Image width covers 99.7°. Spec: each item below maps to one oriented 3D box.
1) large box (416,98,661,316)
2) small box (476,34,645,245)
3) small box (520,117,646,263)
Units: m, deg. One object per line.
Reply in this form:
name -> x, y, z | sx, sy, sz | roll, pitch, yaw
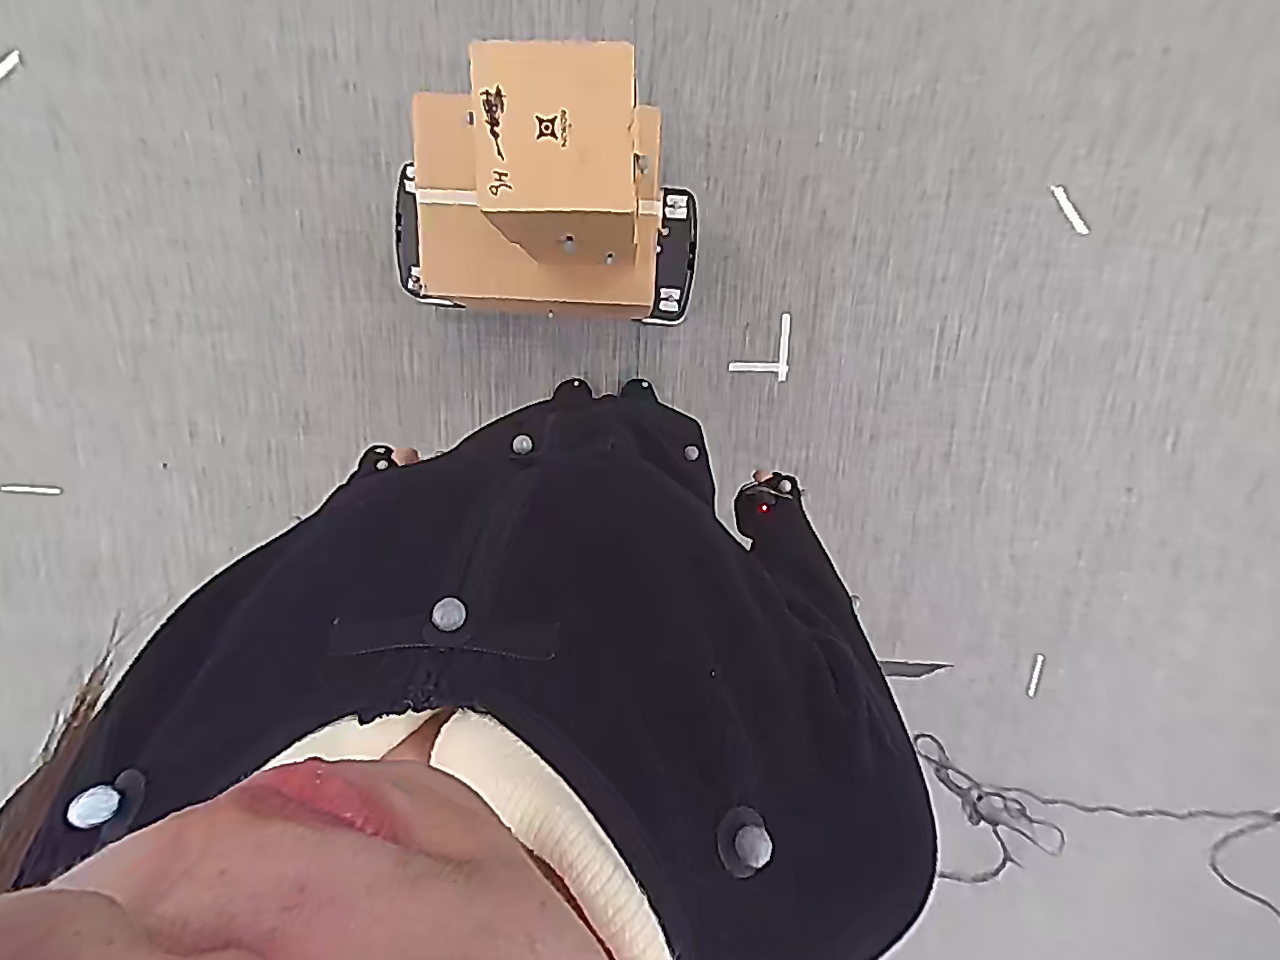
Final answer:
large box -> -0.166, -0.490, 1.043 | 0.408, 0.320, 0.320 | 2, 101, -1
small box -> -0.087, -0.389, 0.648 | 0.179, 0.176, 0.168 | 1, 101, -2
small box -> -0.083, -0.427, 0.808 | 0.179, 0.176, 0.168 | 1, 102, -1
